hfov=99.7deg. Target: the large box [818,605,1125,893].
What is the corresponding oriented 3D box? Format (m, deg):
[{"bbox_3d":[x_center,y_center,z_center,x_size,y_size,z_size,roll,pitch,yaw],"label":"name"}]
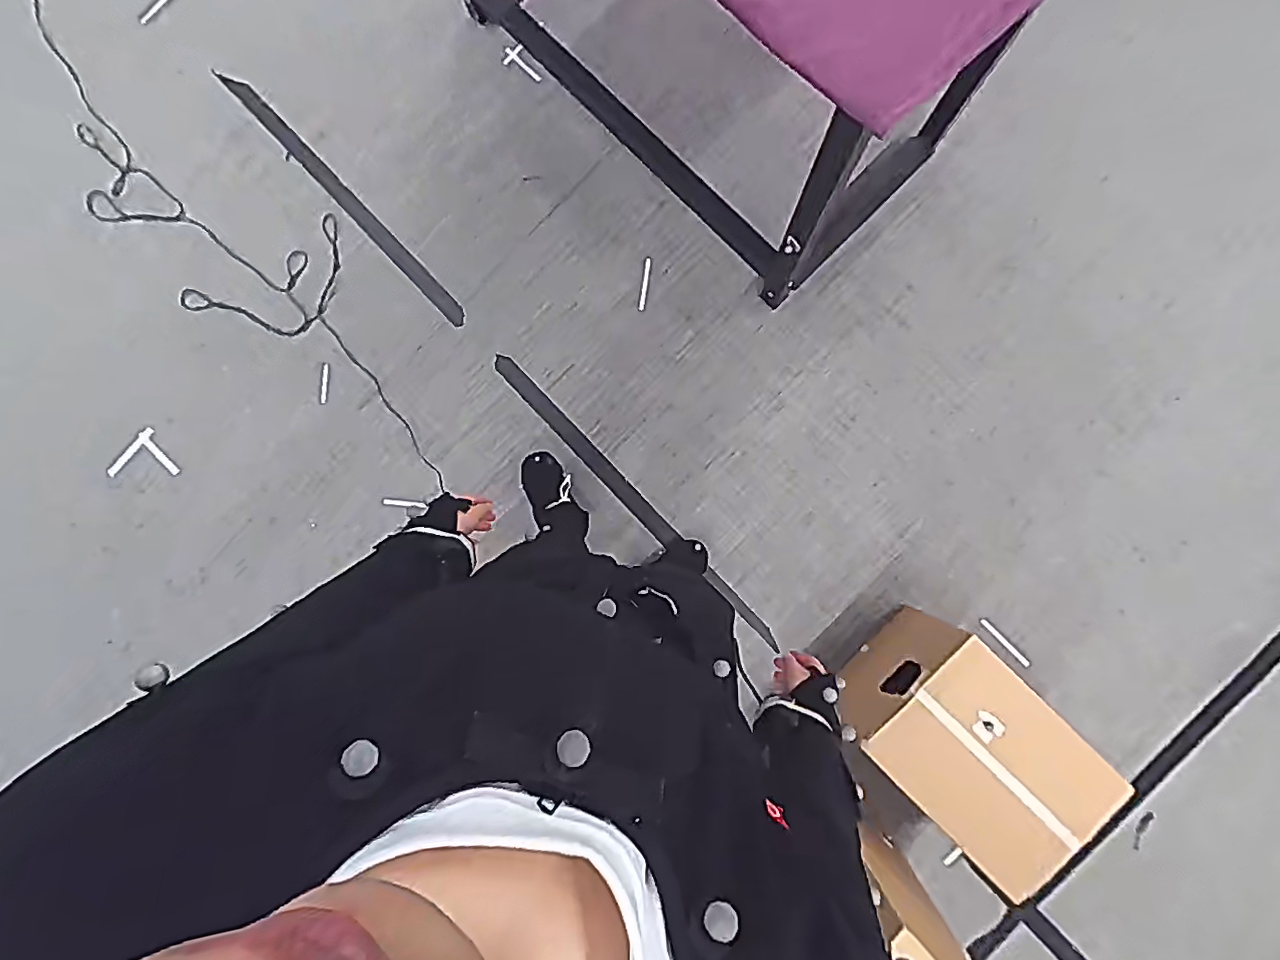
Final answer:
[{"bbox_3d":[0.670,0.539,1.171,0.408,0.320,0.320,44,90,6],"label":"large box"}]
